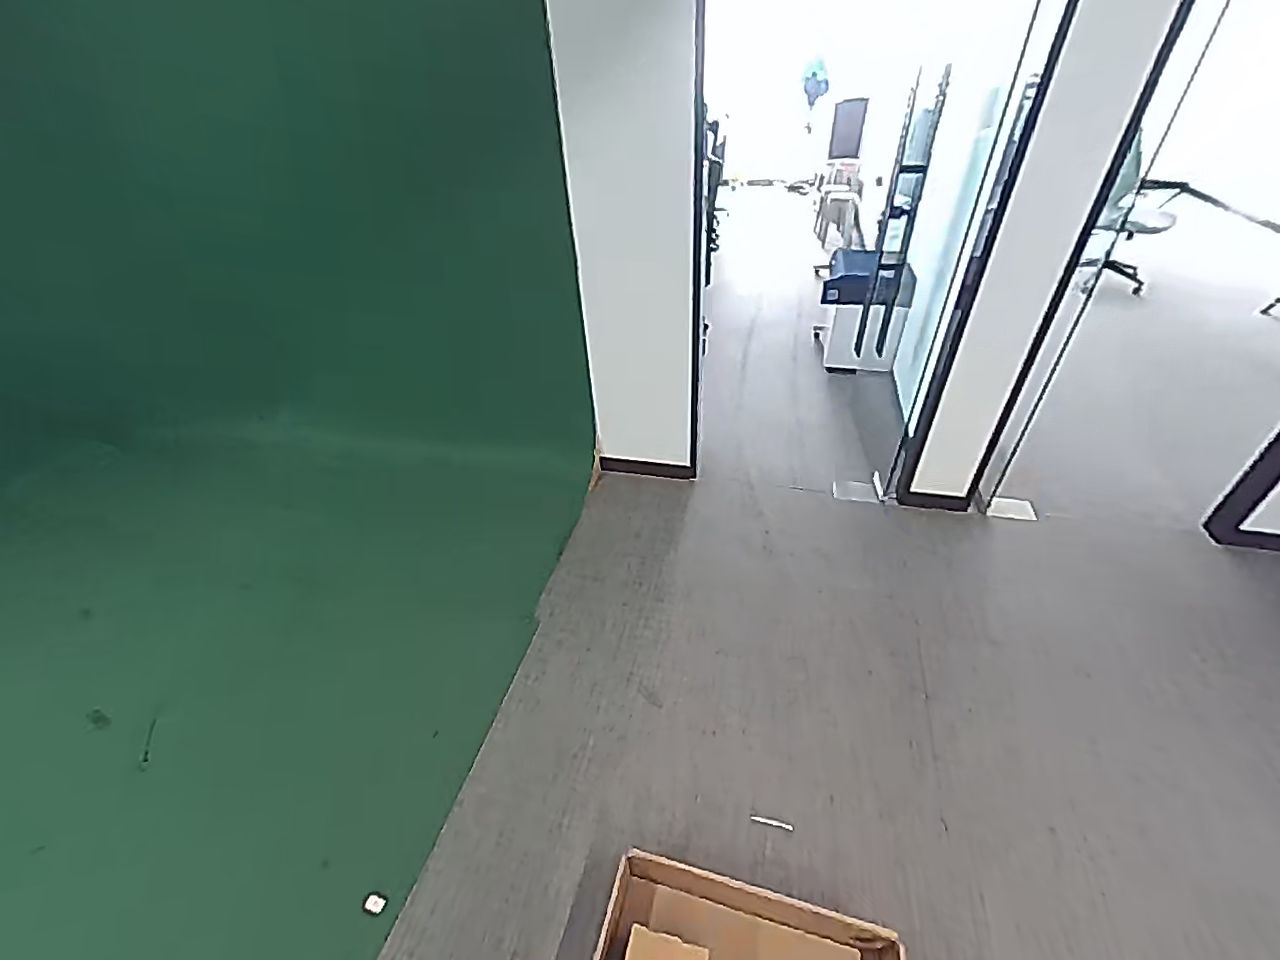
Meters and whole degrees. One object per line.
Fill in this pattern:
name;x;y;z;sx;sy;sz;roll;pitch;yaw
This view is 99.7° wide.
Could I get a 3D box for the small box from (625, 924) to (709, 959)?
small box;0.044;1.062;1.104;0.168;0.176;0.179;9;40;14
